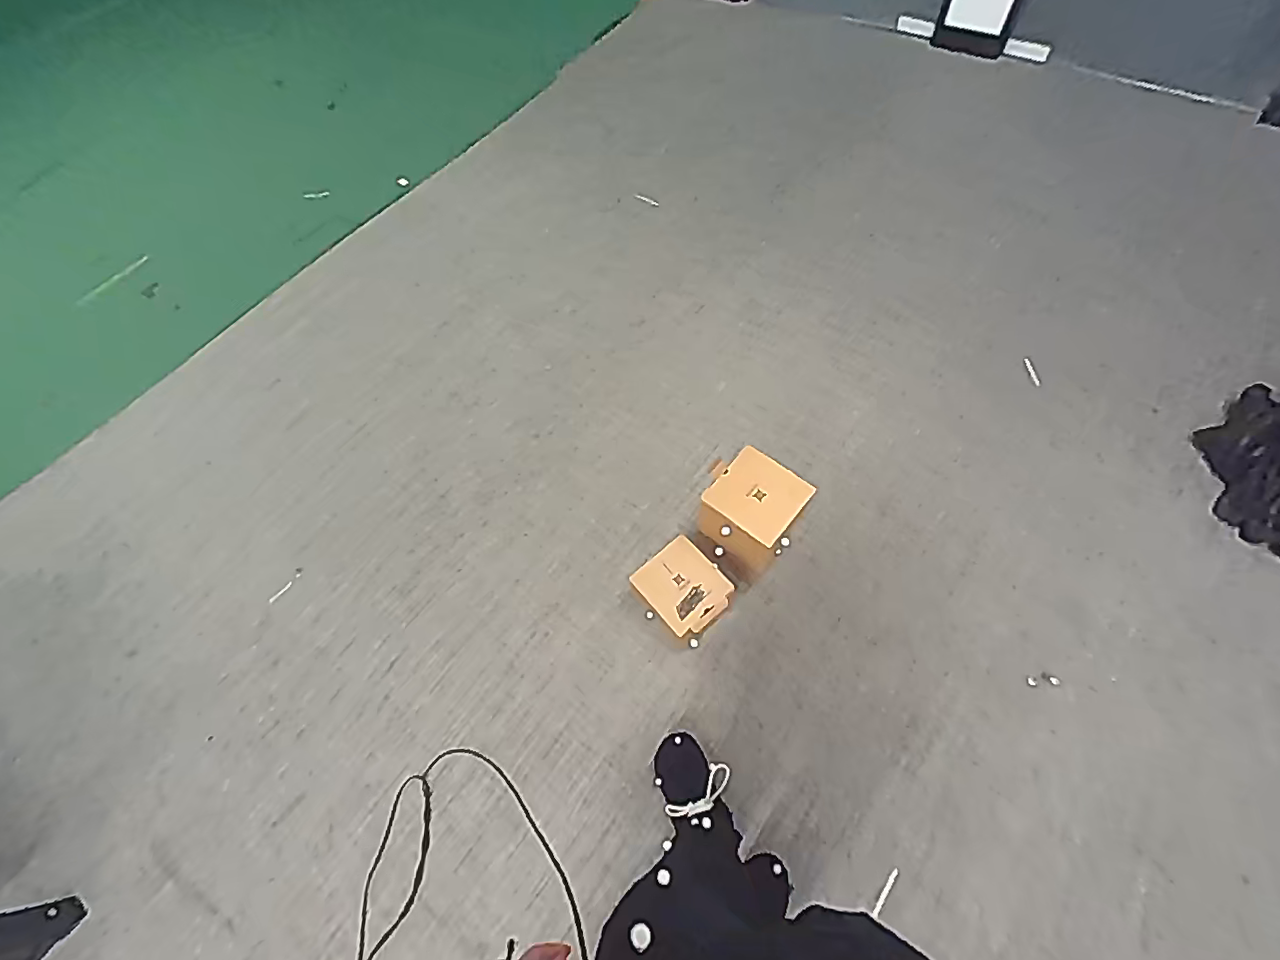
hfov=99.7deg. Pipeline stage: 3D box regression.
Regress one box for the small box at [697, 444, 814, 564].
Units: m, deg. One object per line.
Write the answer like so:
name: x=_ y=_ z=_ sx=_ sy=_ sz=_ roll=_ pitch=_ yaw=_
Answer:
small box: x=0.241 y=0.061 z=1.163 sx=0.179 sy=0.176 sz=0.168 roll=36 pitch=72 yaw=21

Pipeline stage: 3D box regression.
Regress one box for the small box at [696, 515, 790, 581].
small box: x=0.252 y=0.119 z=1.316 sx=0.179 sy=0.176 sz=0.168 roll=36 pitch=71 yaw=22
